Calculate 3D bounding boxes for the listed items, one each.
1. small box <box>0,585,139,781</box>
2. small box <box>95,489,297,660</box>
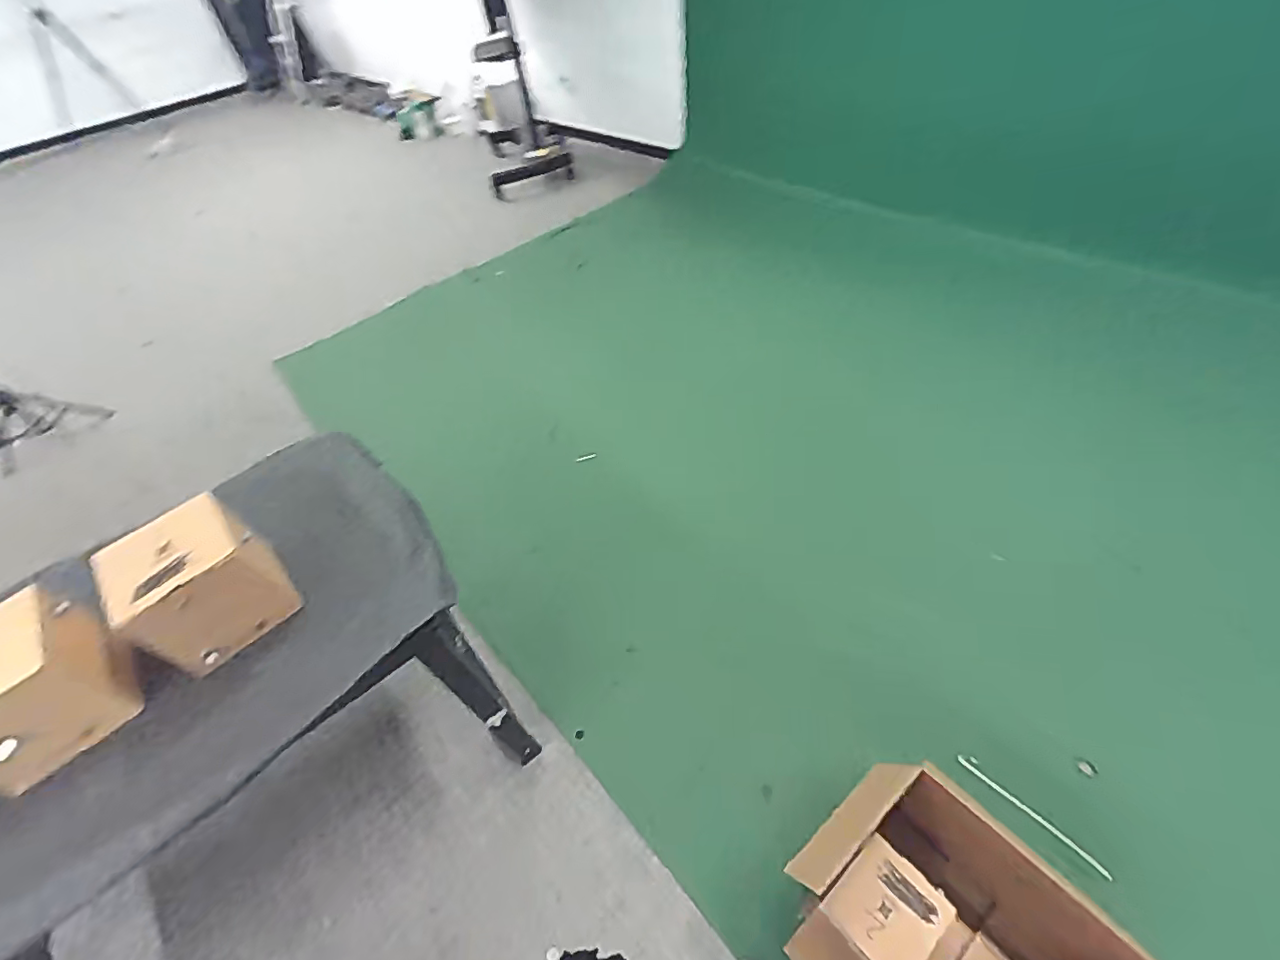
[{"bbox_3d":[-0.859,0.288,0.756,0.168,0.176,0.179,-38,54,-23],"label":"small box"},{"bbox_3d":[-0.679,0.154,0.843,0.168,0.176,0.179,-39,54,-23],"label":"small box"}]
